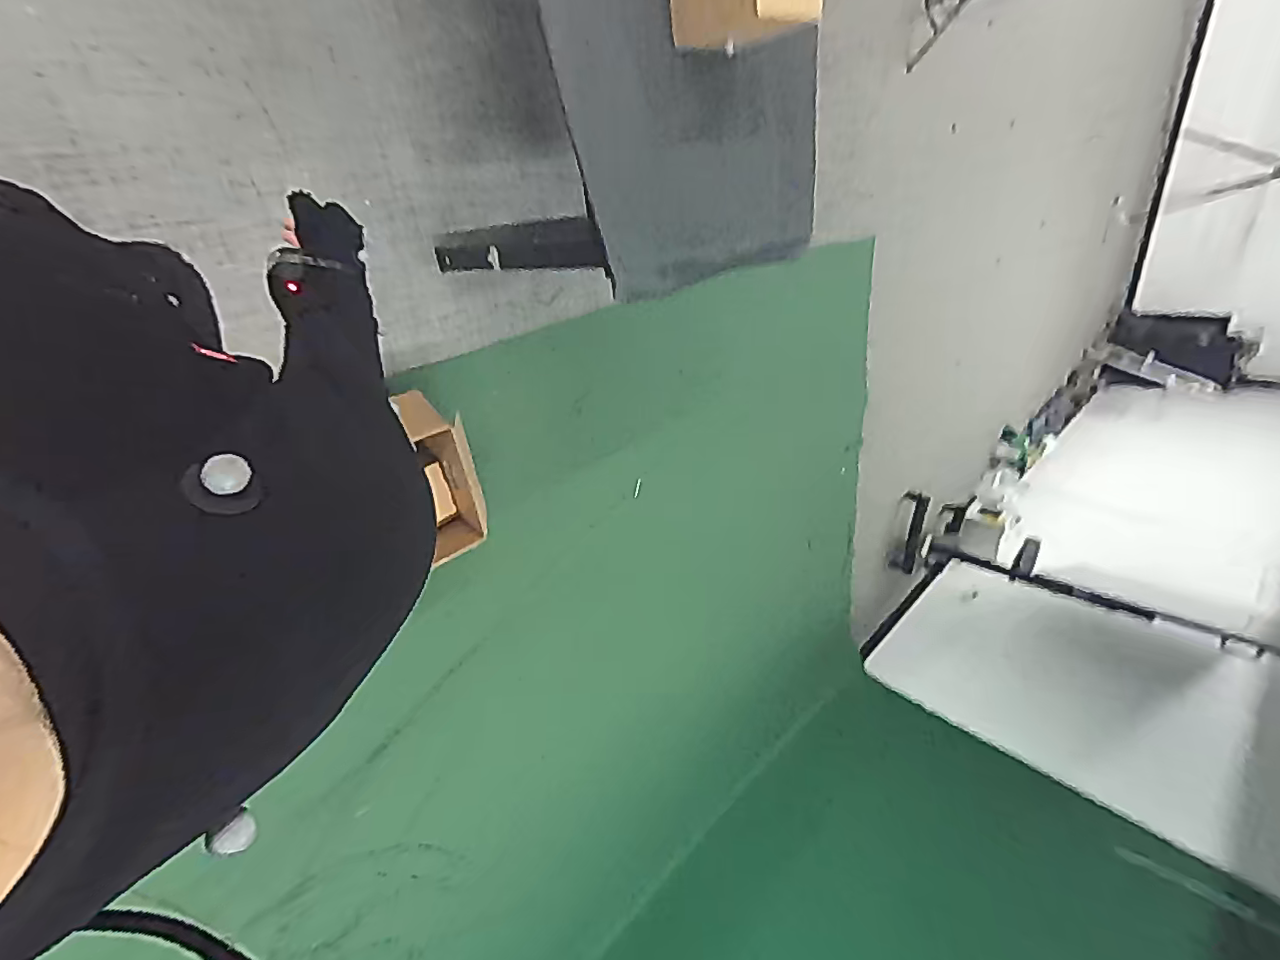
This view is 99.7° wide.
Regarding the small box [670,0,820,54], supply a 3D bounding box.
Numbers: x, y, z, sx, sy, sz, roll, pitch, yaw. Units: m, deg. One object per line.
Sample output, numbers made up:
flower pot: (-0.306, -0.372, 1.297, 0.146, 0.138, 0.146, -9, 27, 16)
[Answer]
small box: (0.154, -0.775, 0.814, 0.168, 0.176, 0.179, -29, 124, -33)
